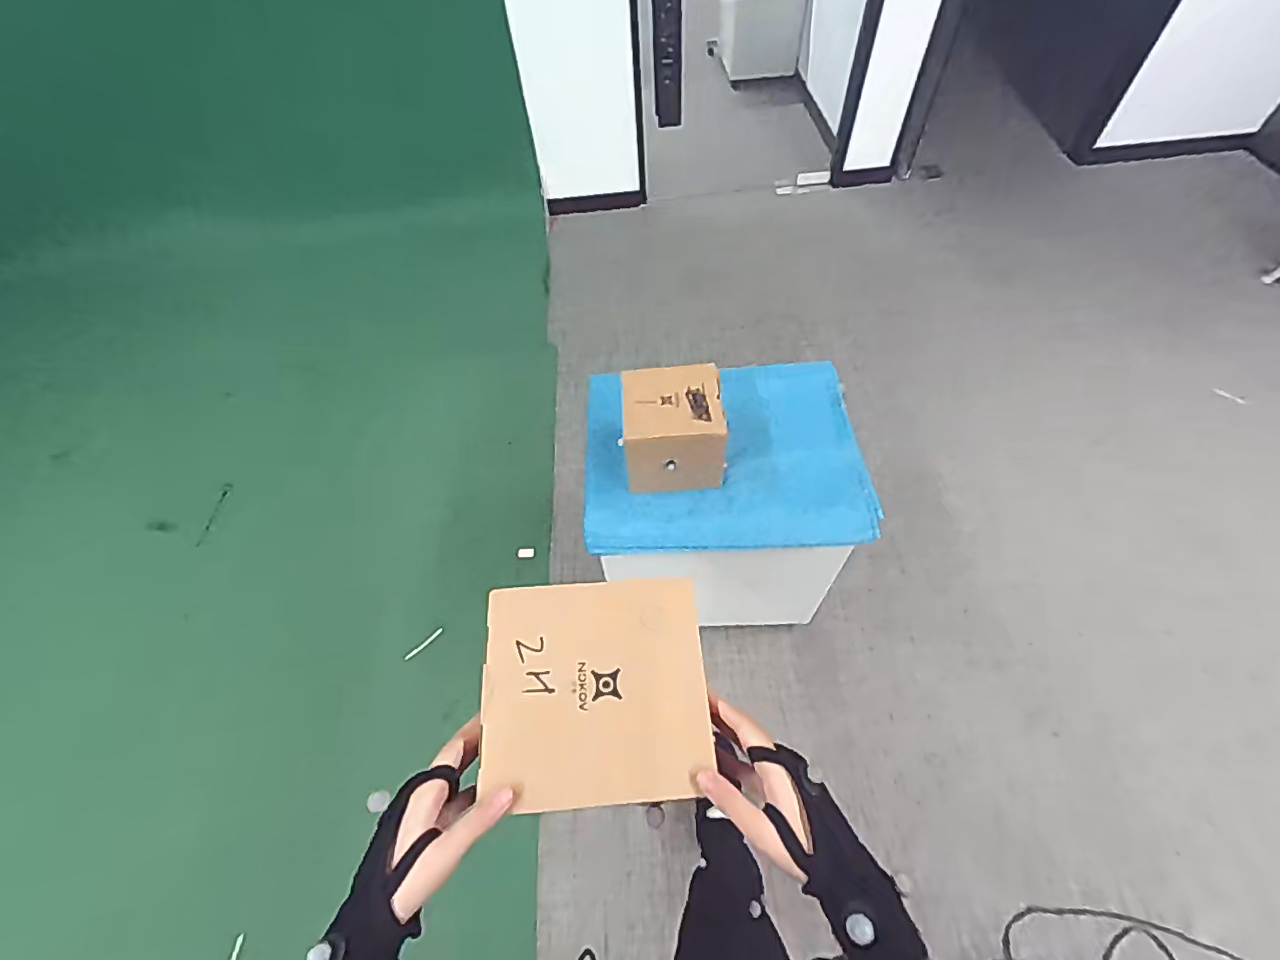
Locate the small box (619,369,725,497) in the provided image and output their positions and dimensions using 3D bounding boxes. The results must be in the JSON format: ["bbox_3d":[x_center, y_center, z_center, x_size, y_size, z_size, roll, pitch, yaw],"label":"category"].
[{"bbox_3d":[0.055,-0.083,0.998,0.179,0.176,0.168,-4,55,2],"label":"small box"}]
